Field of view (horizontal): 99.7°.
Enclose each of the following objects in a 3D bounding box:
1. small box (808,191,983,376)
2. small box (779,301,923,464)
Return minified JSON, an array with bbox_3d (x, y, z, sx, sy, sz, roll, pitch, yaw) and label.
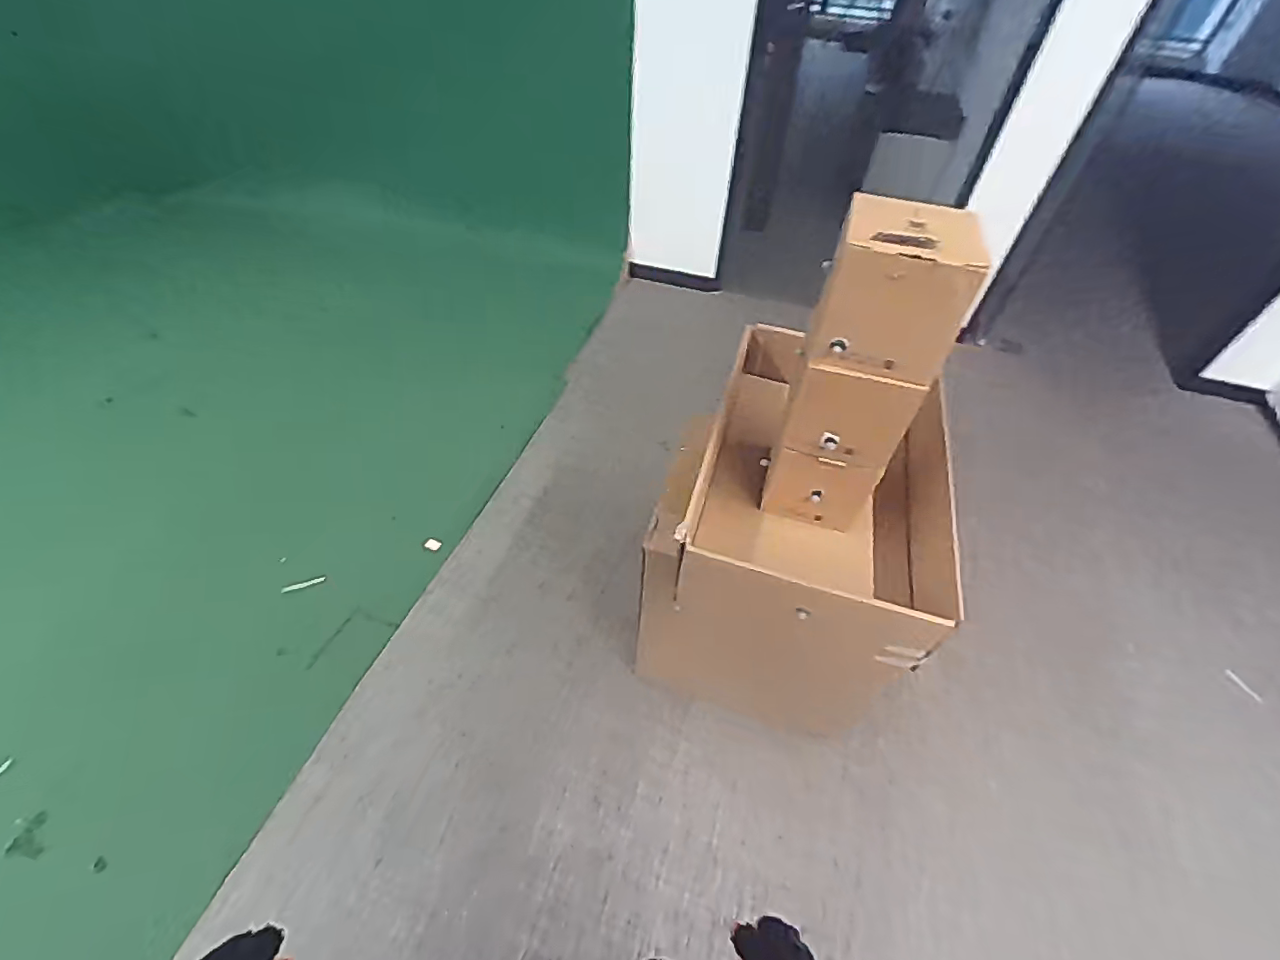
[{"bbox_3d":[0.340,-0.268,0.747,0.168,0.176,0.179,16,49,10],"label":"small box"},{"bbox_3d":[0.327,-0.154,0.865,0.168,0.176,0.179,13,51,8],"label":"small box"}]
